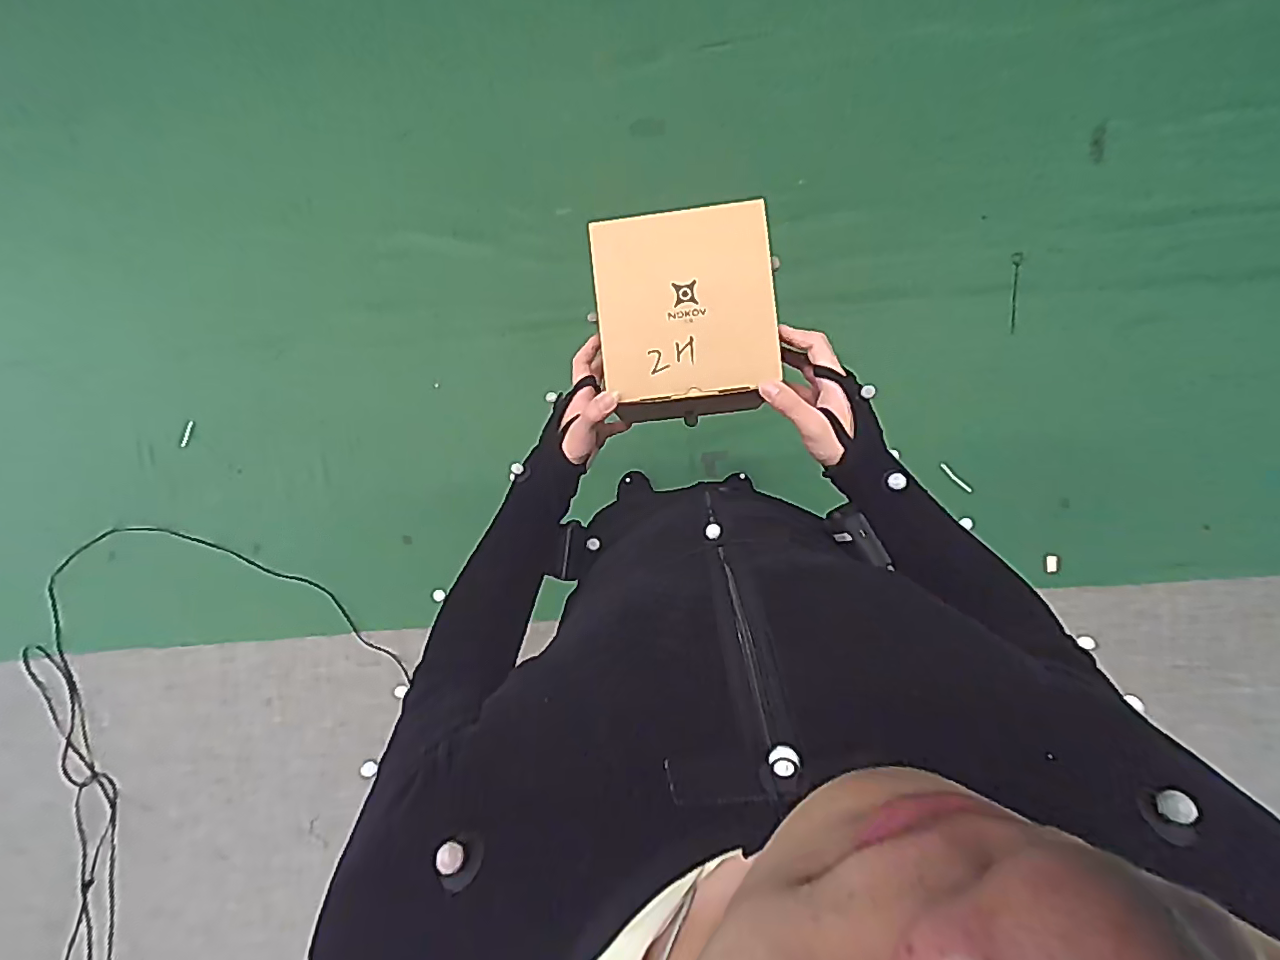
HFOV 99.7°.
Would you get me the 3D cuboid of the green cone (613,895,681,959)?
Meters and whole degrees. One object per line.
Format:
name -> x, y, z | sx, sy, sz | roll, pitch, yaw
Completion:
green cone -> 0.008, 1.360, 1.469 | 0.202, 0.368, 0.200 | -4, 91, 4
